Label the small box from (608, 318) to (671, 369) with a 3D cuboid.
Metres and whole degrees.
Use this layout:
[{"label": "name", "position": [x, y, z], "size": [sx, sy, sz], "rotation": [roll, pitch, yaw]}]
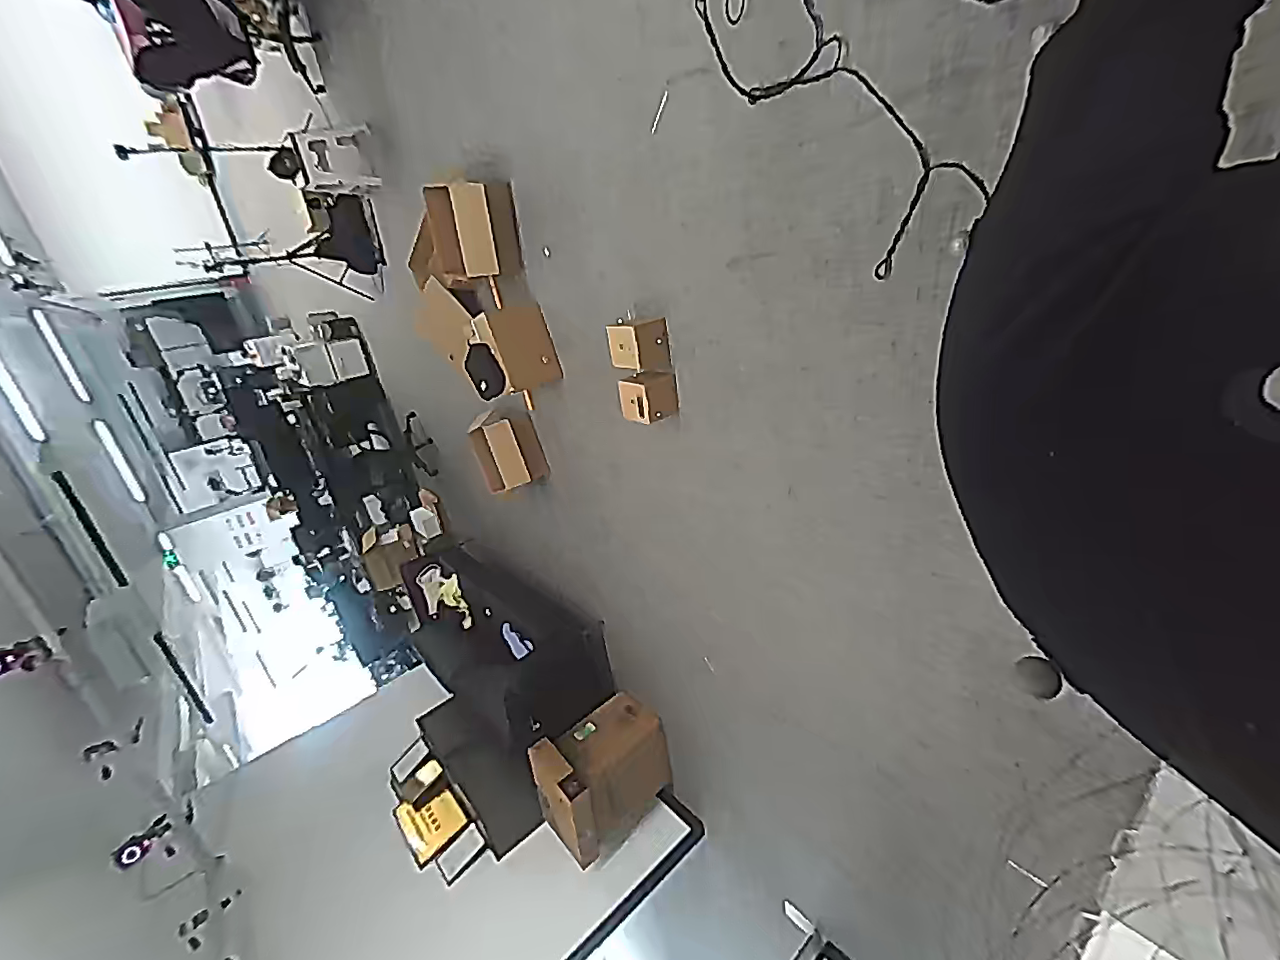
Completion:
[{"label": "small box", "position": [0.000, -0.551, 2.170], "size": [0.179, 0.176, 0.168], "rotation": [18, 125, 47]}]
